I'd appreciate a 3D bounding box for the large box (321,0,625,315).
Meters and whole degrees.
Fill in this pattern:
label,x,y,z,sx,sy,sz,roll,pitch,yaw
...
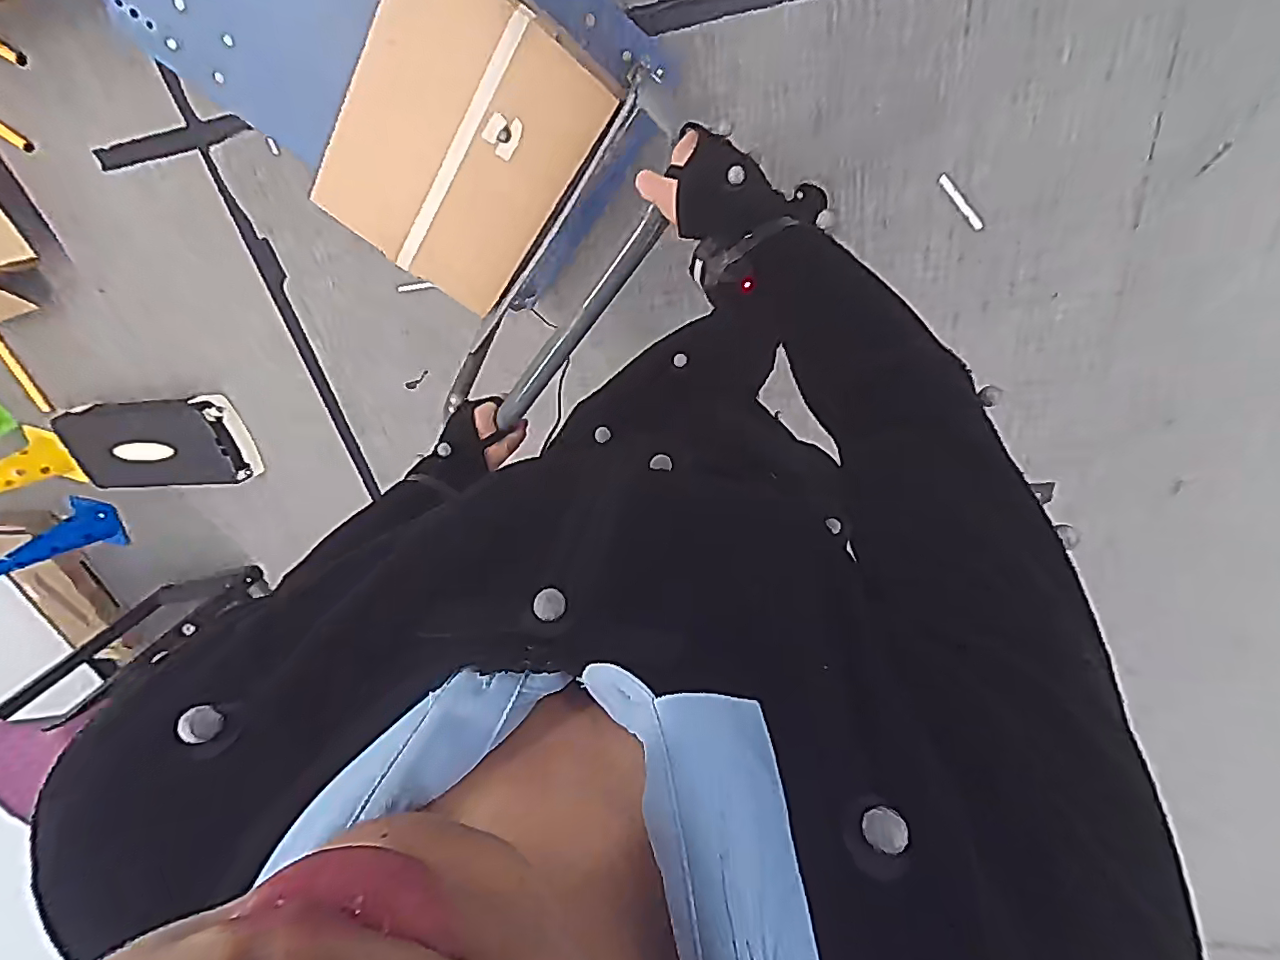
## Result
label,x,y,z,sx,sy,sz,roll,pitch,yaw
large box,-0.266,-0.576,0.931,0.320,0.320,0.408,32,121,-21
